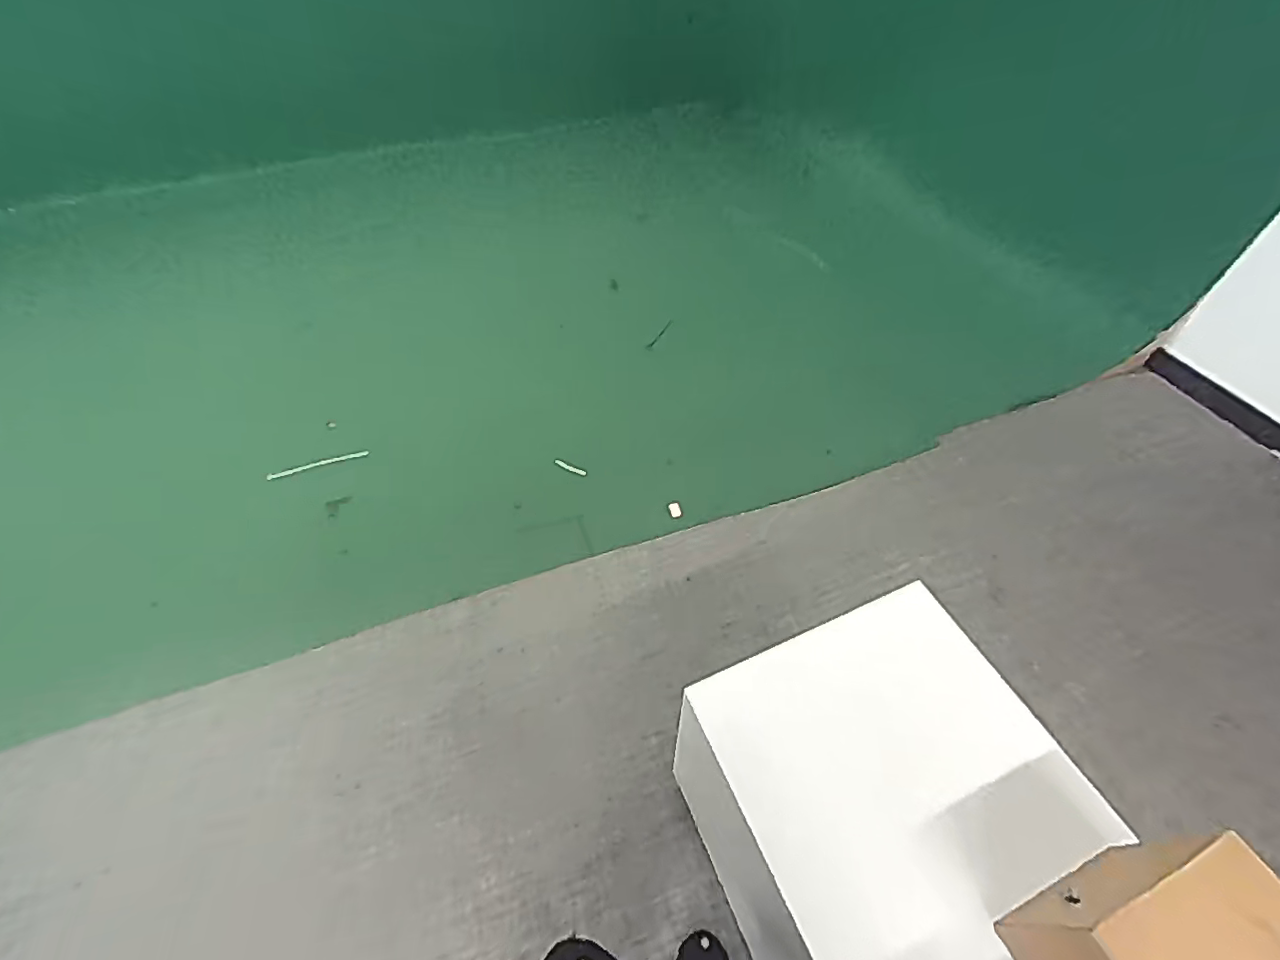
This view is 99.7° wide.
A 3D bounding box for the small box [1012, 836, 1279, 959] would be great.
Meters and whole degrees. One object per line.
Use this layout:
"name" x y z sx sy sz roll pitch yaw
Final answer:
"small box" 0.474 0.447 0.473 0.179 0.176 0.168 -19 54 -13
